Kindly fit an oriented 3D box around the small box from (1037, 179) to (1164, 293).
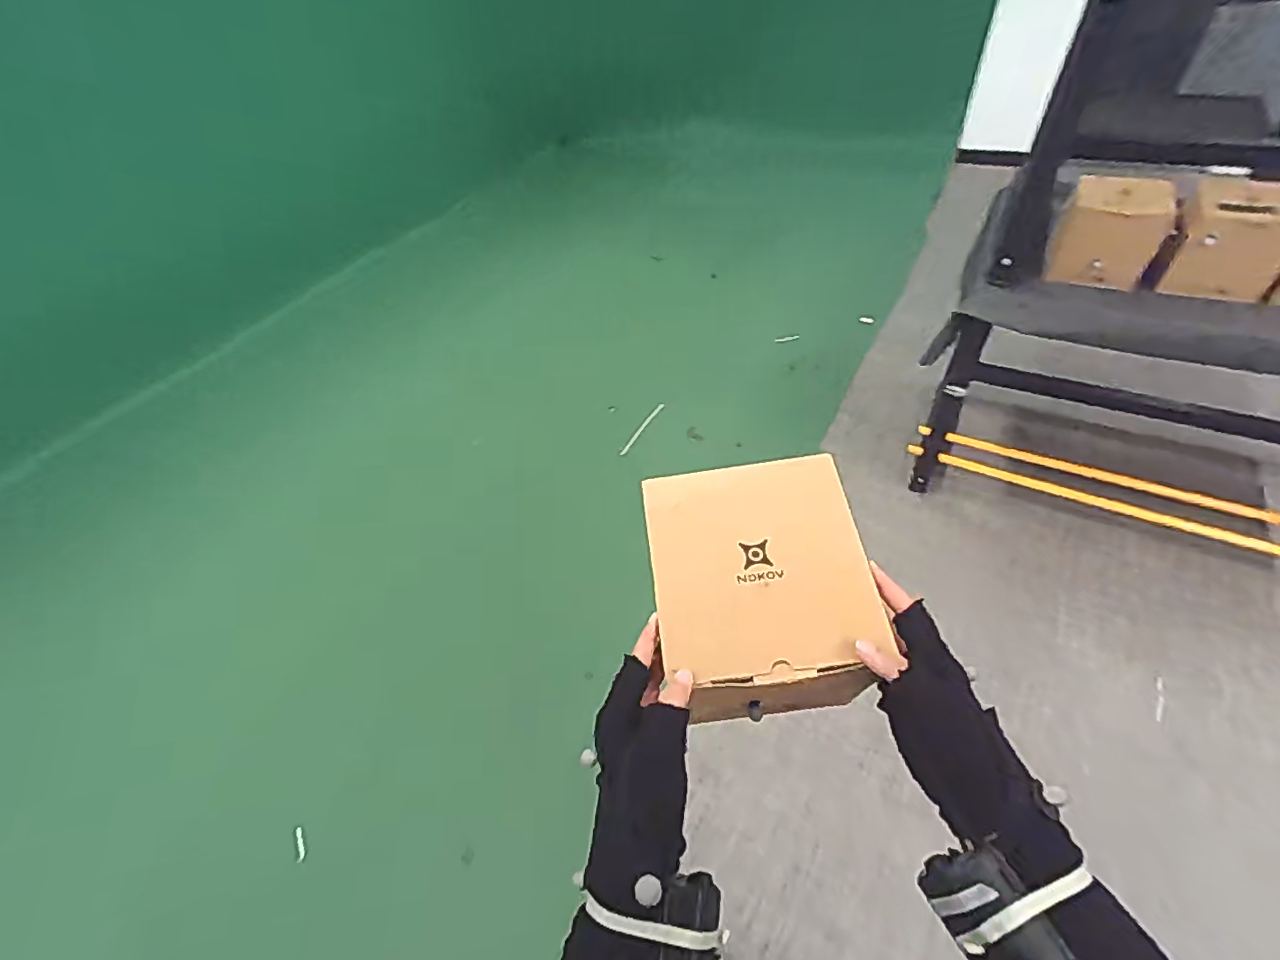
[{"bbox_3d":[1.024,-0.549,1.216,0.168,0.176,0.179,18,54,23],"label":"small box"}]
